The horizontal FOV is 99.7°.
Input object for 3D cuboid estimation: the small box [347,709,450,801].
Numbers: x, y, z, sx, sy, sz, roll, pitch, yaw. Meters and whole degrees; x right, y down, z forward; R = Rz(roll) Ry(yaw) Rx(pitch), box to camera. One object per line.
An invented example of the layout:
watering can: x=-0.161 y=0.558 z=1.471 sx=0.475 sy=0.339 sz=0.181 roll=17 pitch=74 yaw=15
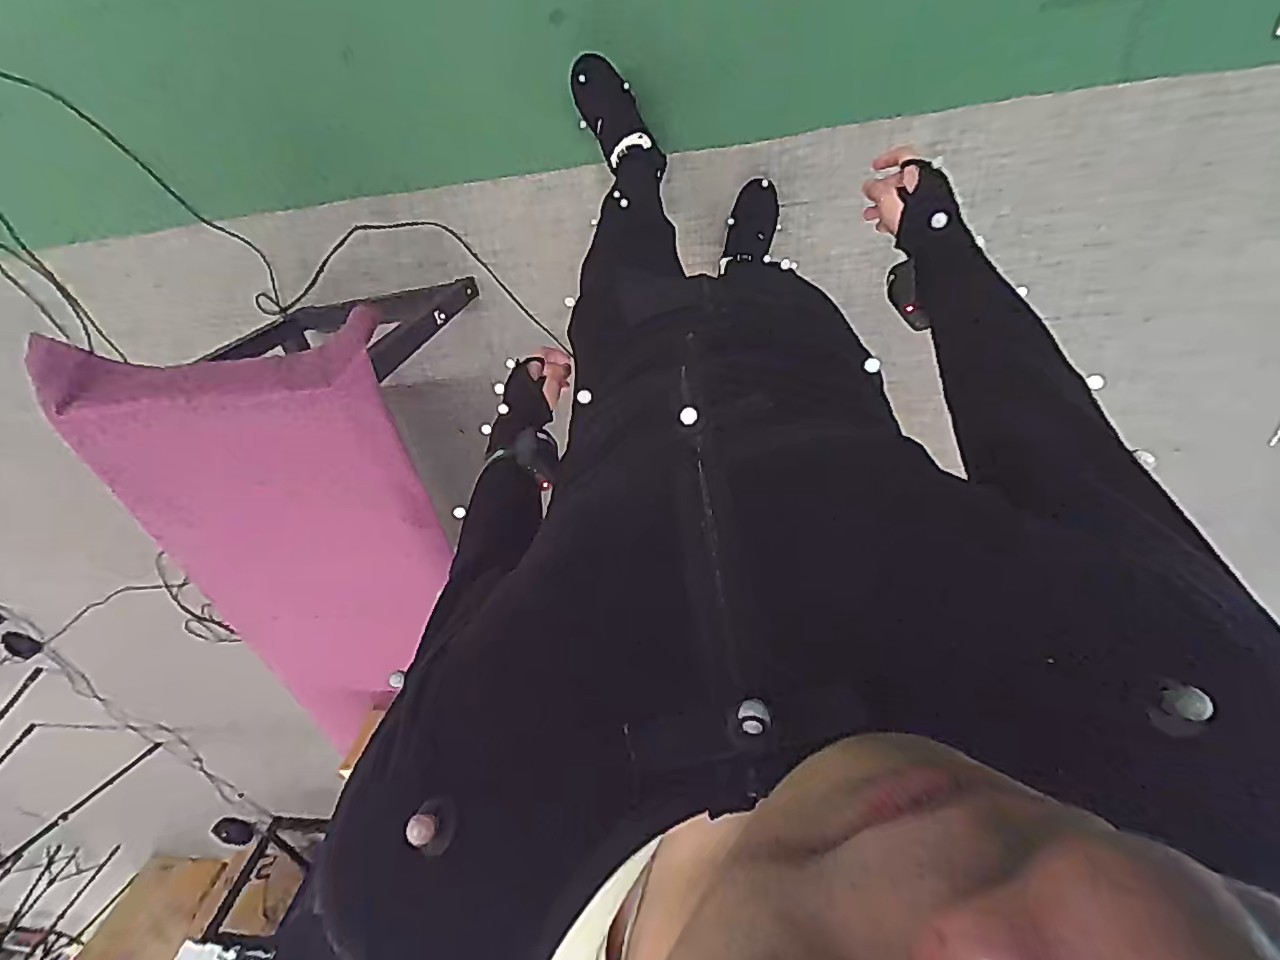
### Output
small box: x=-0.648 y=0.745 z=1.472 sx=0.168 sy=0.176 sz=0.179 roll=-3 pitch=126 yaw=10
